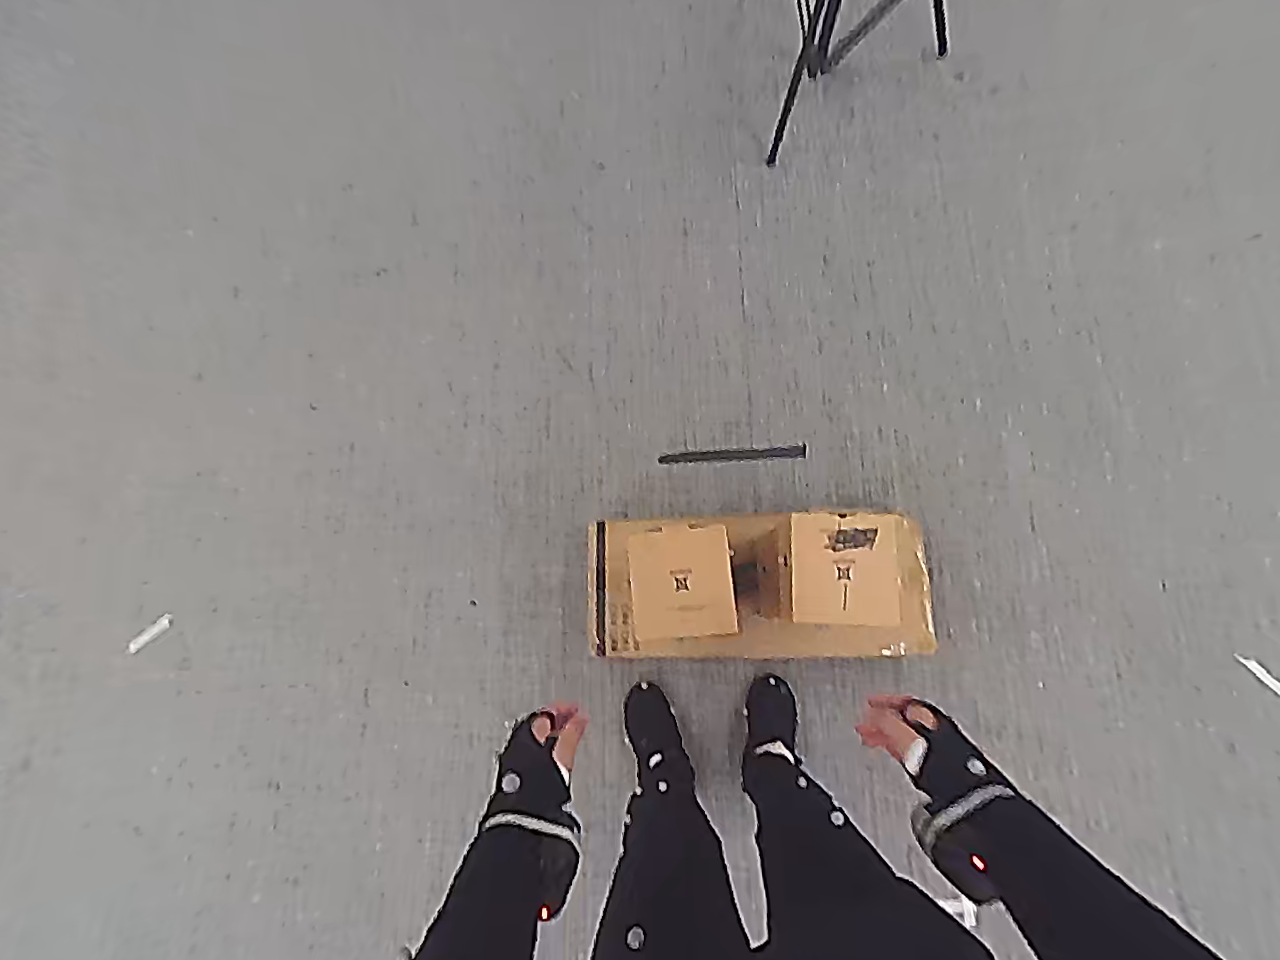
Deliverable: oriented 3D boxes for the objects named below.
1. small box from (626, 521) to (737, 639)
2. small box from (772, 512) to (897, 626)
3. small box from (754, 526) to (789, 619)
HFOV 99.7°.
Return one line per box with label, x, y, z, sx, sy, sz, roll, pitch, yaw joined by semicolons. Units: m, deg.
small box;0.070;0.175;0.948;0.168;0.176;0.179;-7;79;3
small box;0.324;0.154;0.933;0.168;0.176;0.179;1;79;5
small box;0.327;0.188;1.095;0.168;0.176;0.179;-3;79;4
